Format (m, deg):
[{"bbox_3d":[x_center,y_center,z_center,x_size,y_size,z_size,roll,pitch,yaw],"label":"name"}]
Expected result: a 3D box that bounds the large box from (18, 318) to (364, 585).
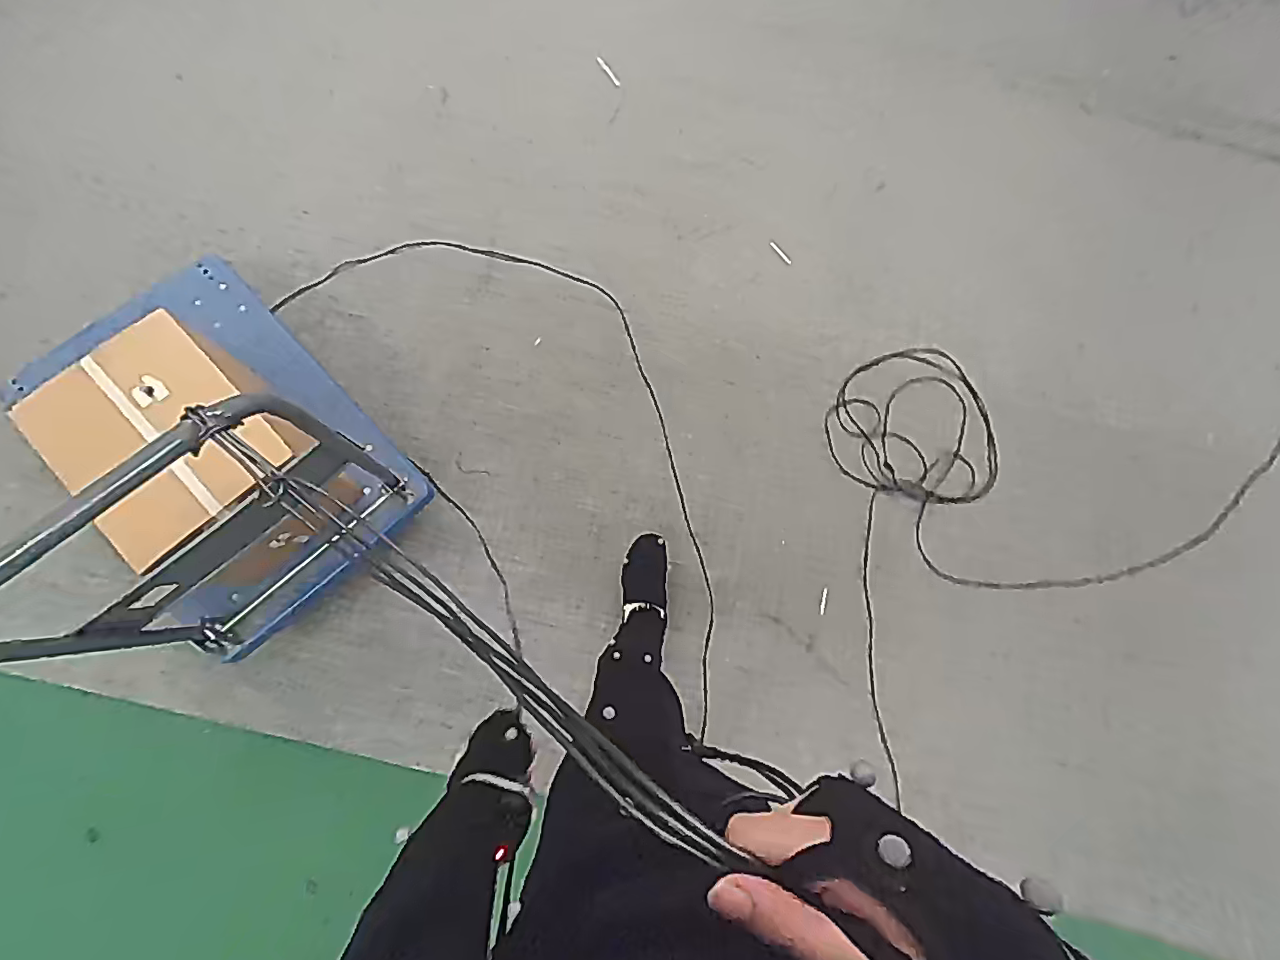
[{"bbox_3d":[-0.876,-0.036,1.116,0.320,0.320,0.408,-43,82,-14],"label":"large box"}]
